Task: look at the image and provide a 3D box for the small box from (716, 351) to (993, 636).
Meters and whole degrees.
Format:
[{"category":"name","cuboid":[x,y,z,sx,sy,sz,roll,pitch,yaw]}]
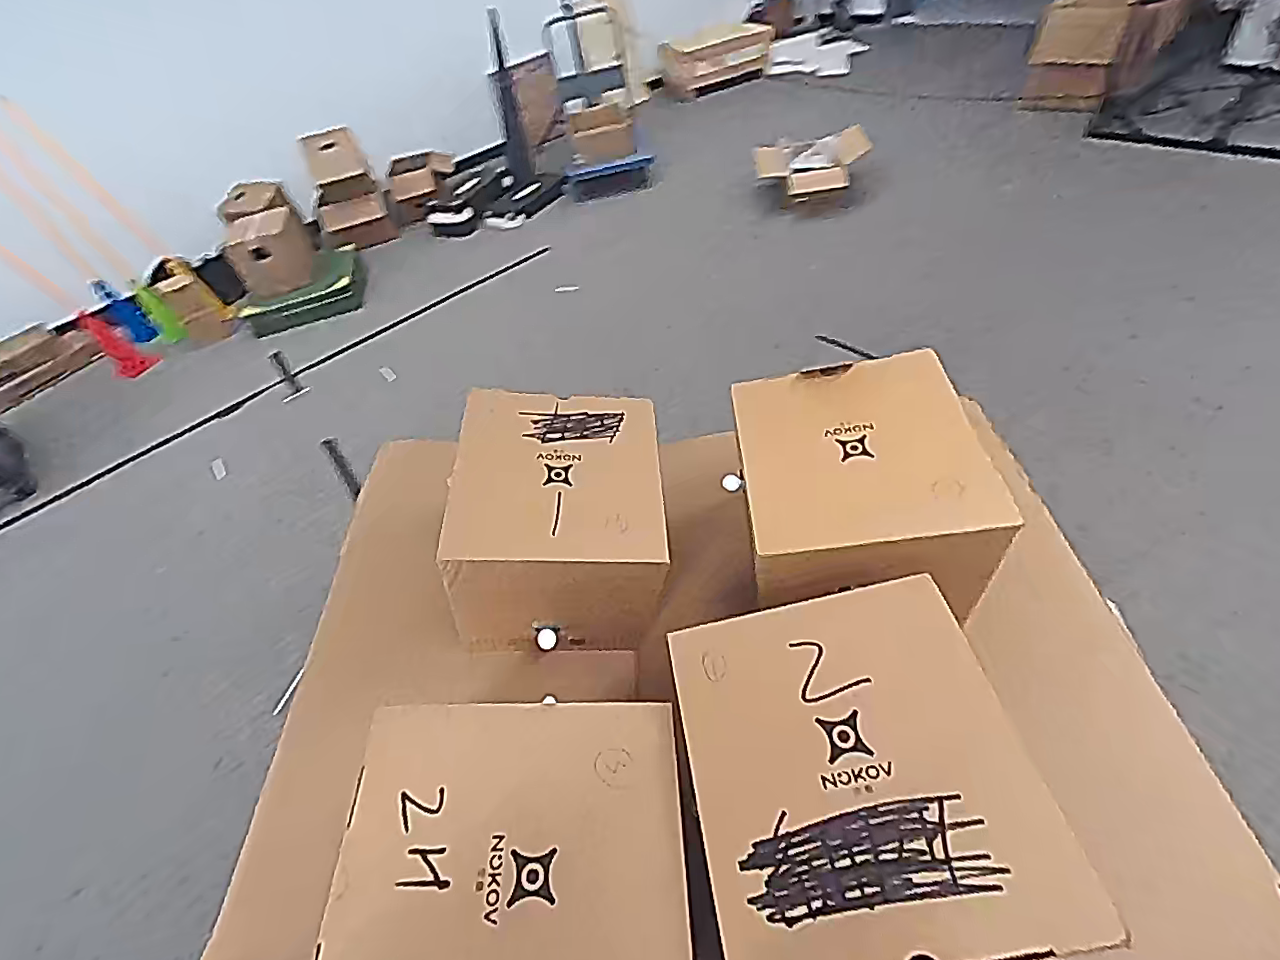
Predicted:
[{"category":"small box","cuboid":[0.165,0.022,0.468,0.168,0.176,0.179,-10,49,9]}]
